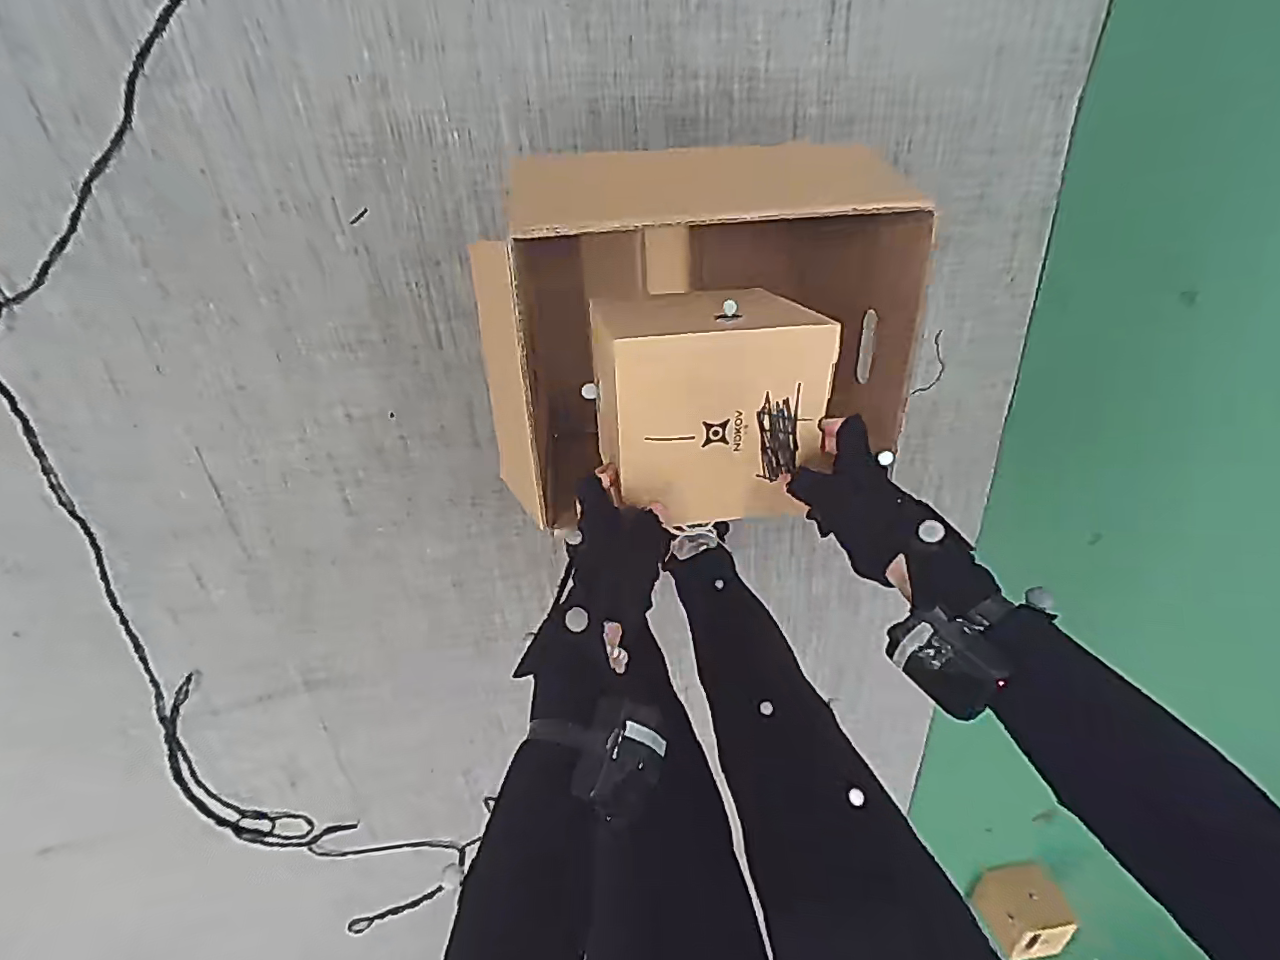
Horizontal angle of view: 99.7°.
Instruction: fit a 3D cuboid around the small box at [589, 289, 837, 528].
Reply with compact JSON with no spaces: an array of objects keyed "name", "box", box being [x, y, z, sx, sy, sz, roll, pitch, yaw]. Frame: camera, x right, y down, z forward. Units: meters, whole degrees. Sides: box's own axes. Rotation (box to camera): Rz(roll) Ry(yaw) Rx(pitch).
[{"name":"small box","box":[0.051,-0.076,0.499,0.179,0.176,0.168,-6,118,-7]}]
